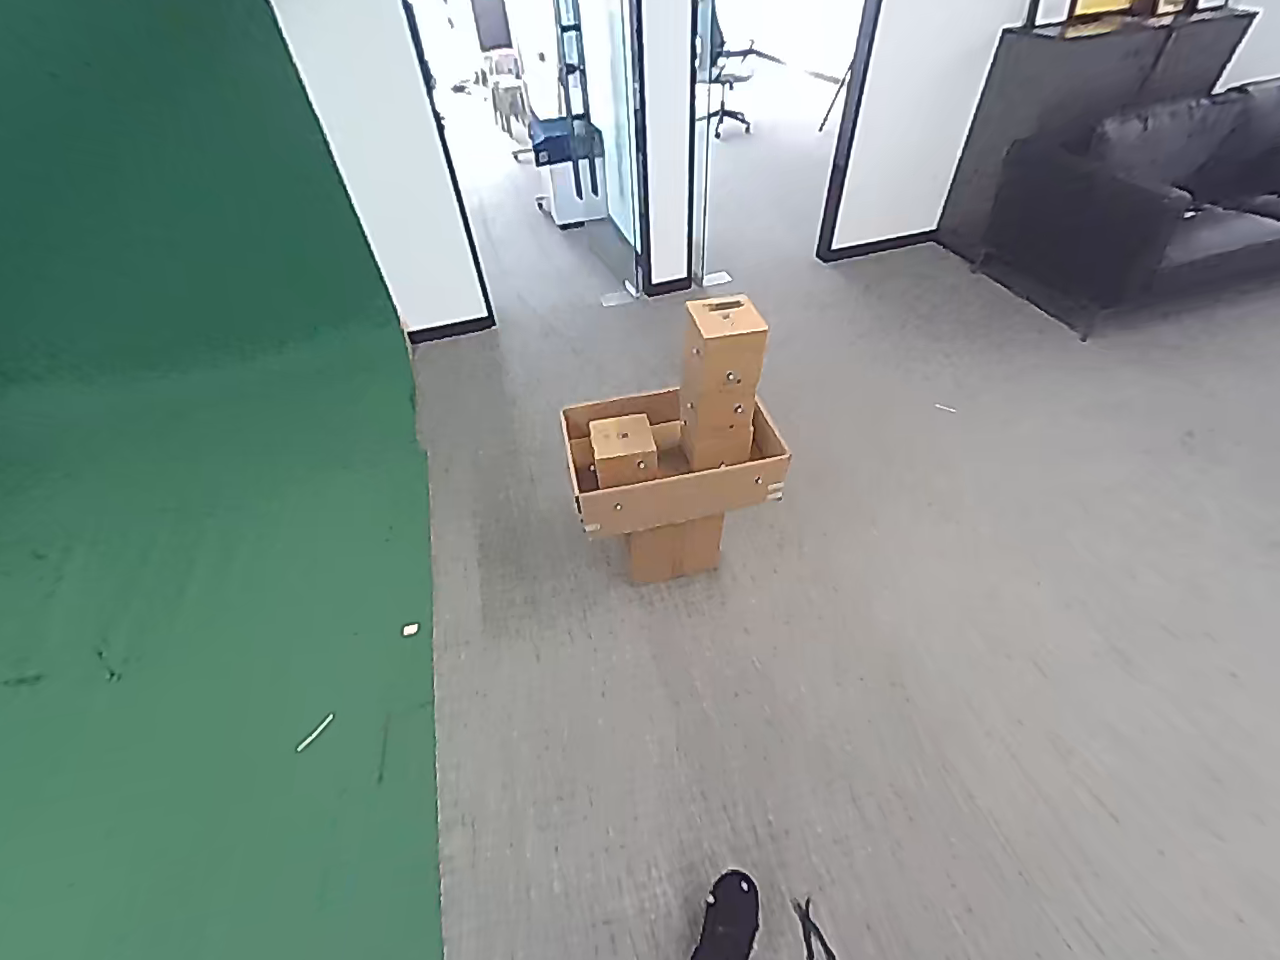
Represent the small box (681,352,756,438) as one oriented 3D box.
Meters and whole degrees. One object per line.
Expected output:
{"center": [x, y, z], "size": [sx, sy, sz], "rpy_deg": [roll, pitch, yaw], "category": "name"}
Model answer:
{"center": [0.216, -0.233, 1.530], "size": [0.168, 0.176, 0.179], "rpy_deg": [-10, 46, -7], "category": "small box"}
